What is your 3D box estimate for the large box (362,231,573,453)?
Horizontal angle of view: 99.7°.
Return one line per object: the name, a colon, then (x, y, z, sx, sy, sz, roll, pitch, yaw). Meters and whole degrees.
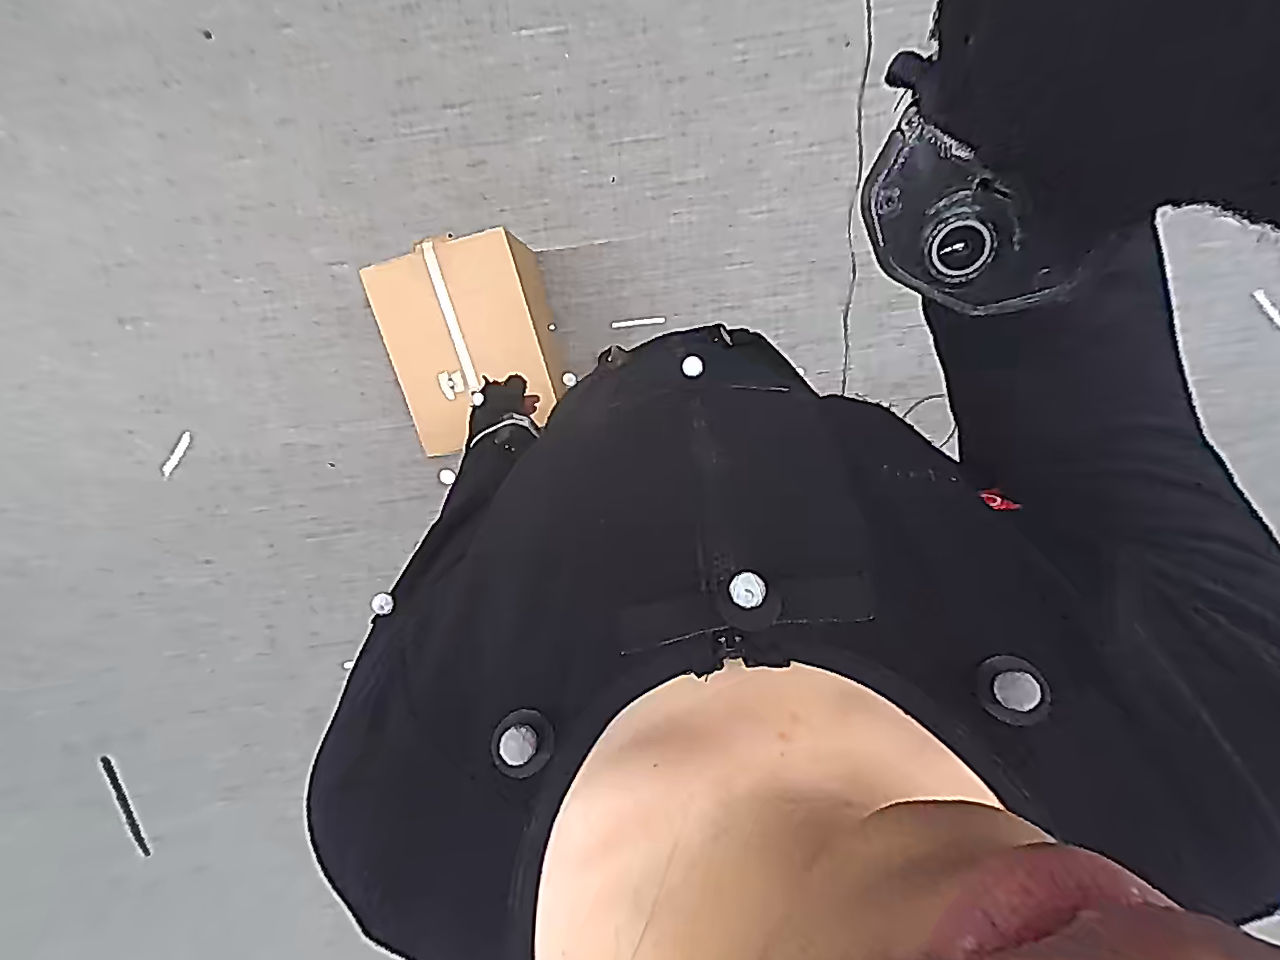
large box: (-0.376, -0.319, 1.291, 0.320, 0.320, 0.408, -14, 104, 5)
